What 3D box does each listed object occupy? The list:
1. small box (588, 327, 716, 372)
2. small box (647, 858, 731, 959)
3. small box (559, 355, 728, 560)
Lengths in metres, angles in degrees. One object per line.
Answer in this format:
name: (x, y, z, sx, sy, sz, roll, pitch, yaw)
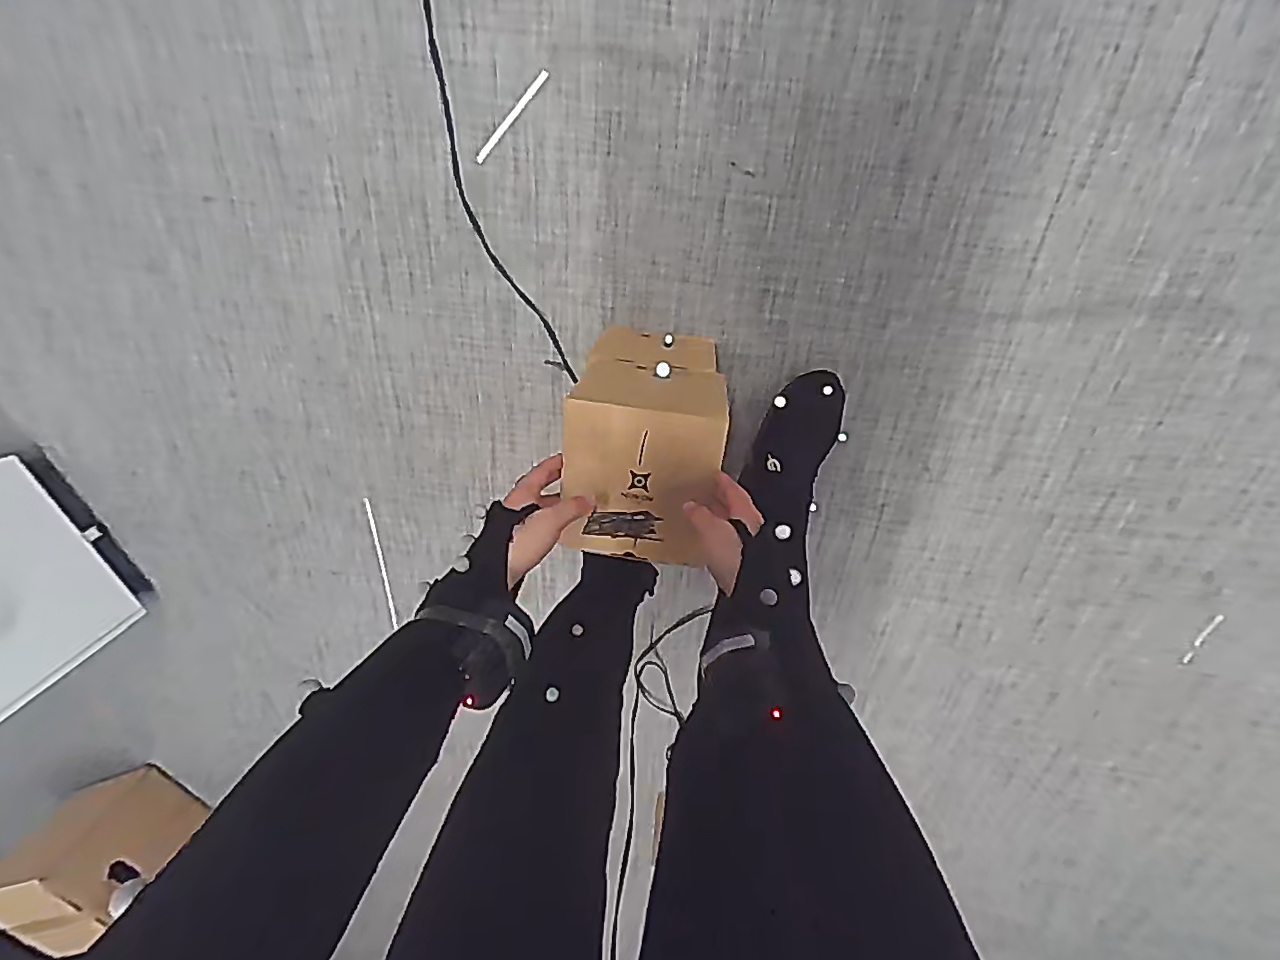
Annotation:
small box: (0.017, -0.110, 0.789, 0.168, 0.176, 0.179, 8, 118, 4)
small box: (0.104, 0.958, 1.161, 0.168, 0.176, 0.179, 5, 117, 5)
small box: (0.008, -0.034, 0.643, 0.168, 0.176, 0.179, 9, 117, 3)
